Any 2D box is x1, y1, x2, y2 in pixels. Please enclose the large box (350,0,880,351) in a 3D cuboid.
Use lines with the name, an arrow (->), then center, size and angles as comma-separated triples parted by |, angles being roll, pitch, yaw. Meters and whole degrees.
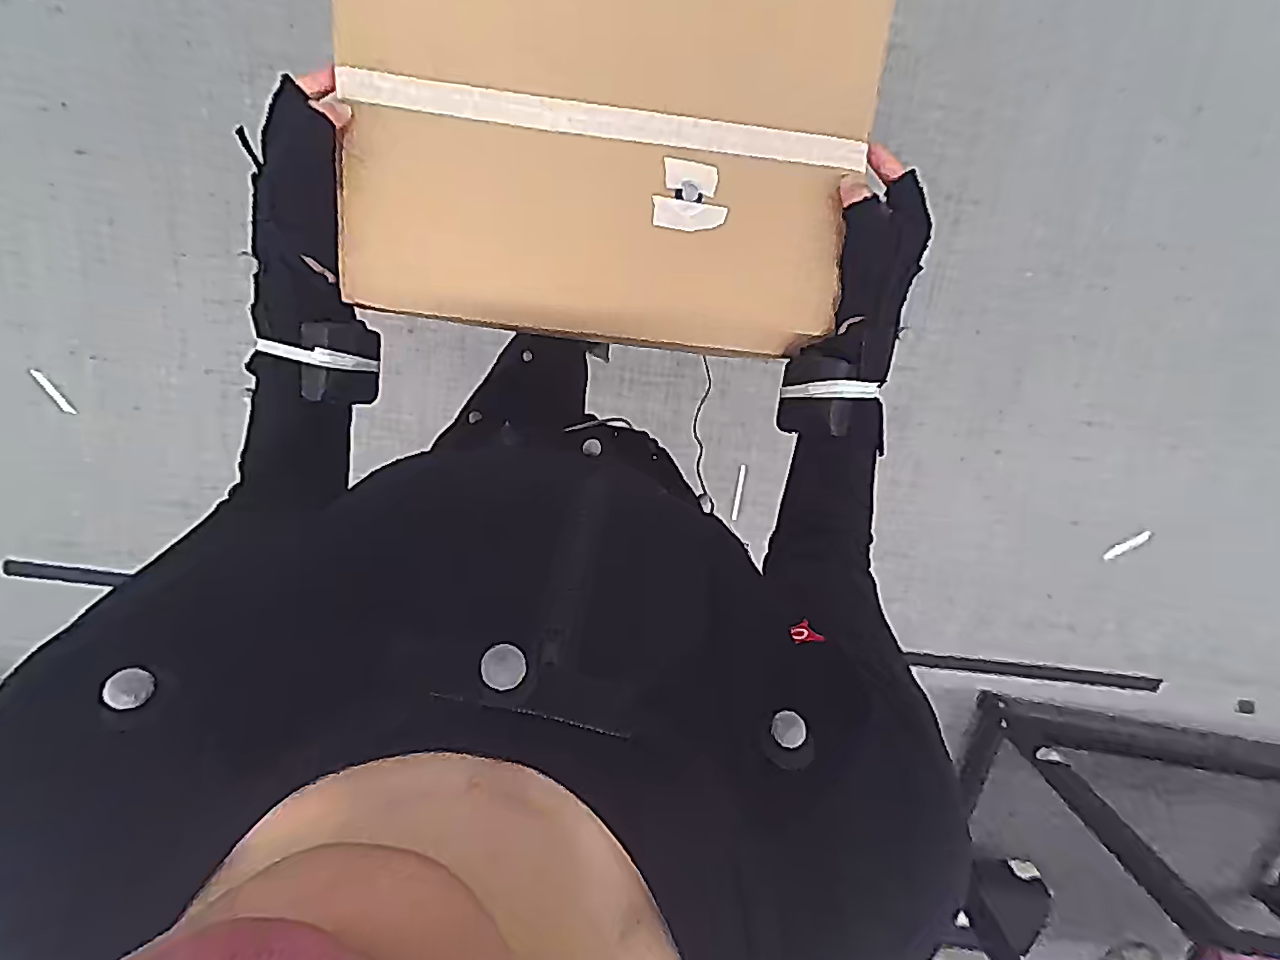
large box -> -0.034, -0.312, 0.570 | 0.408, 0.320, 0.320 | 5, 104, -5
